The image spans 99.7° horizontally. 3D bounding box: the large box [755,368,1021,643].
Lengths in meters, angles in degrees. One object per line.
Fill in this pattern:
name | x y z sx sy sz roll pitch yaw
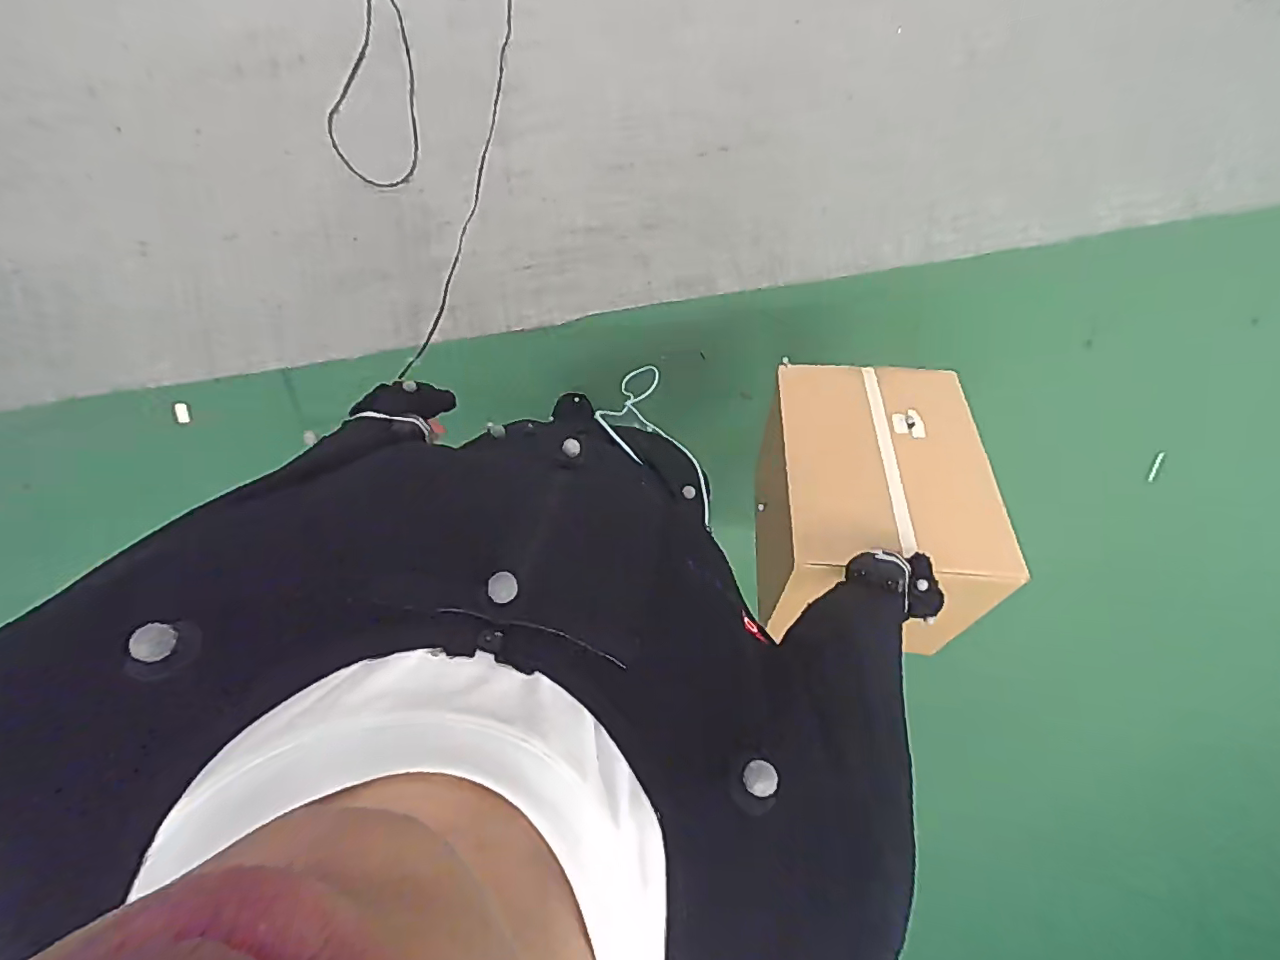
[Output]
large box | 0.393 0.050 0.987 0.320 0.408 0.320 3 144 3
